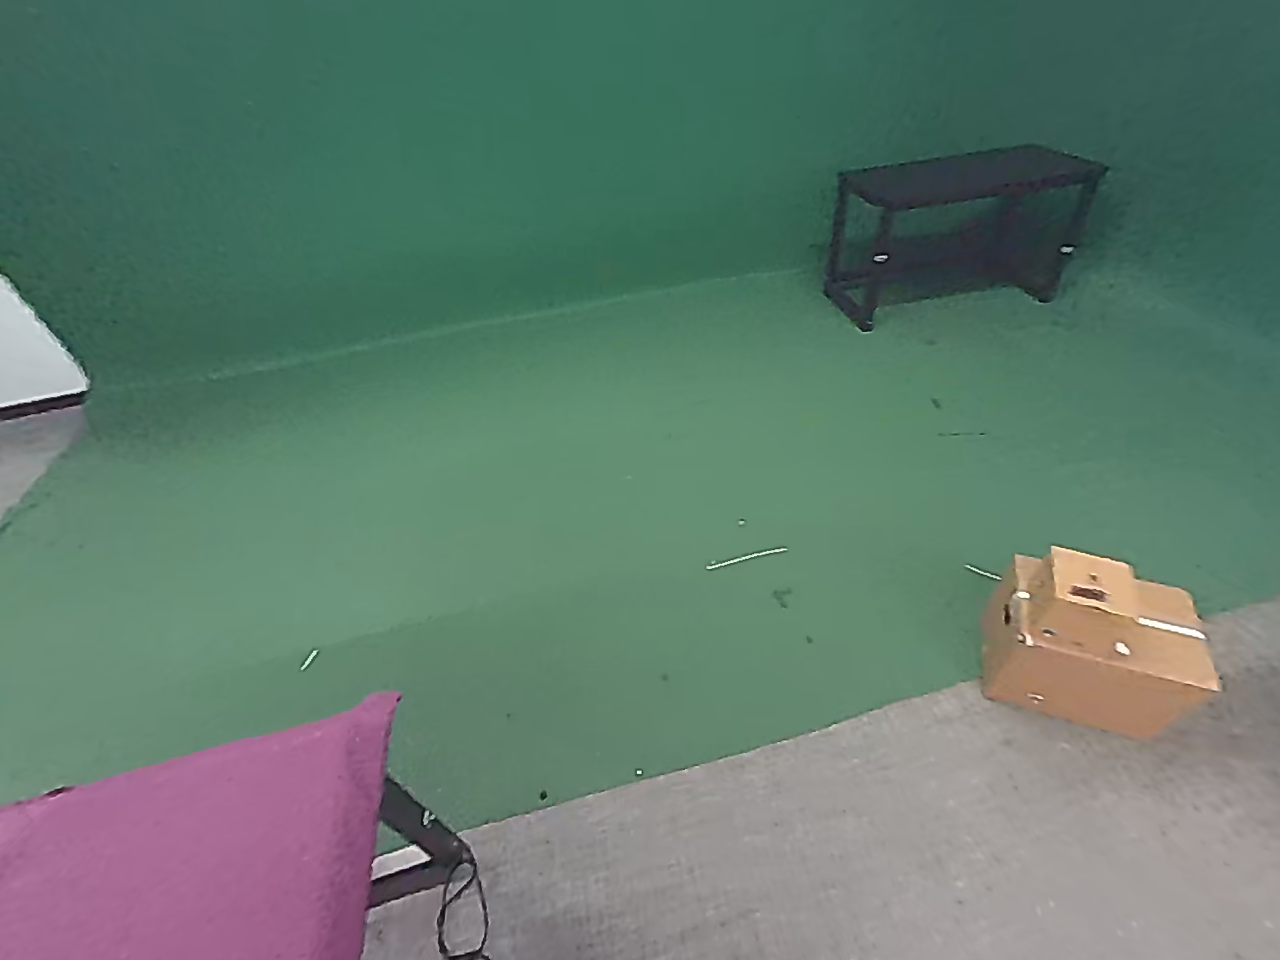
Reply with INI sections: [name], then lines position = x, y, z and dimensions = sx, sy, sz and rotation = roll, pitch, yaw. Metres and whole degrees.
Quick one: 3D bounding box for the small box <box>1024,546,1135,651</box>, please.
[small box]
position = 1.103, 0.303, 1.372
dimensions = 0.168, 0.176, 0.179
rotation = 15, 47, 21
